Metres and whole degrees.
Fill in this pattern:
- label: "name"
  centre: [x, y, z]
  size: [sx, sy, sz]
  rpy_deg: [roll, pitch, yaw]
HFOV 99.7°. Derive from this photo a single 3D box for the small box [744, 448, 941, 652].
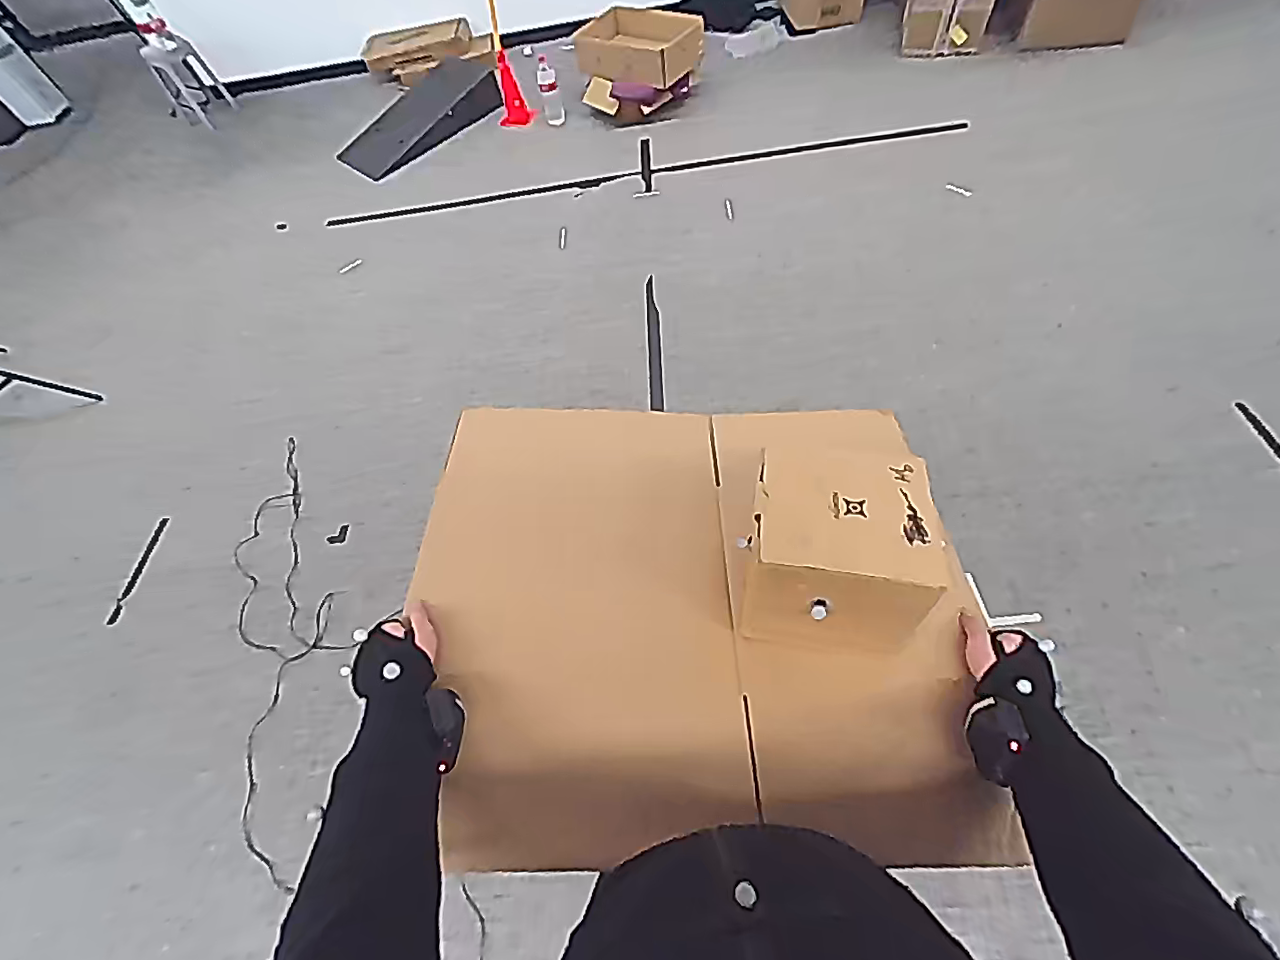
- label: "small box"
  centre: [0.217, 0.083, 0.628]
  size: [0.179, 0.176, 0.168]
  rpy_deg: [6, 51, 10]
